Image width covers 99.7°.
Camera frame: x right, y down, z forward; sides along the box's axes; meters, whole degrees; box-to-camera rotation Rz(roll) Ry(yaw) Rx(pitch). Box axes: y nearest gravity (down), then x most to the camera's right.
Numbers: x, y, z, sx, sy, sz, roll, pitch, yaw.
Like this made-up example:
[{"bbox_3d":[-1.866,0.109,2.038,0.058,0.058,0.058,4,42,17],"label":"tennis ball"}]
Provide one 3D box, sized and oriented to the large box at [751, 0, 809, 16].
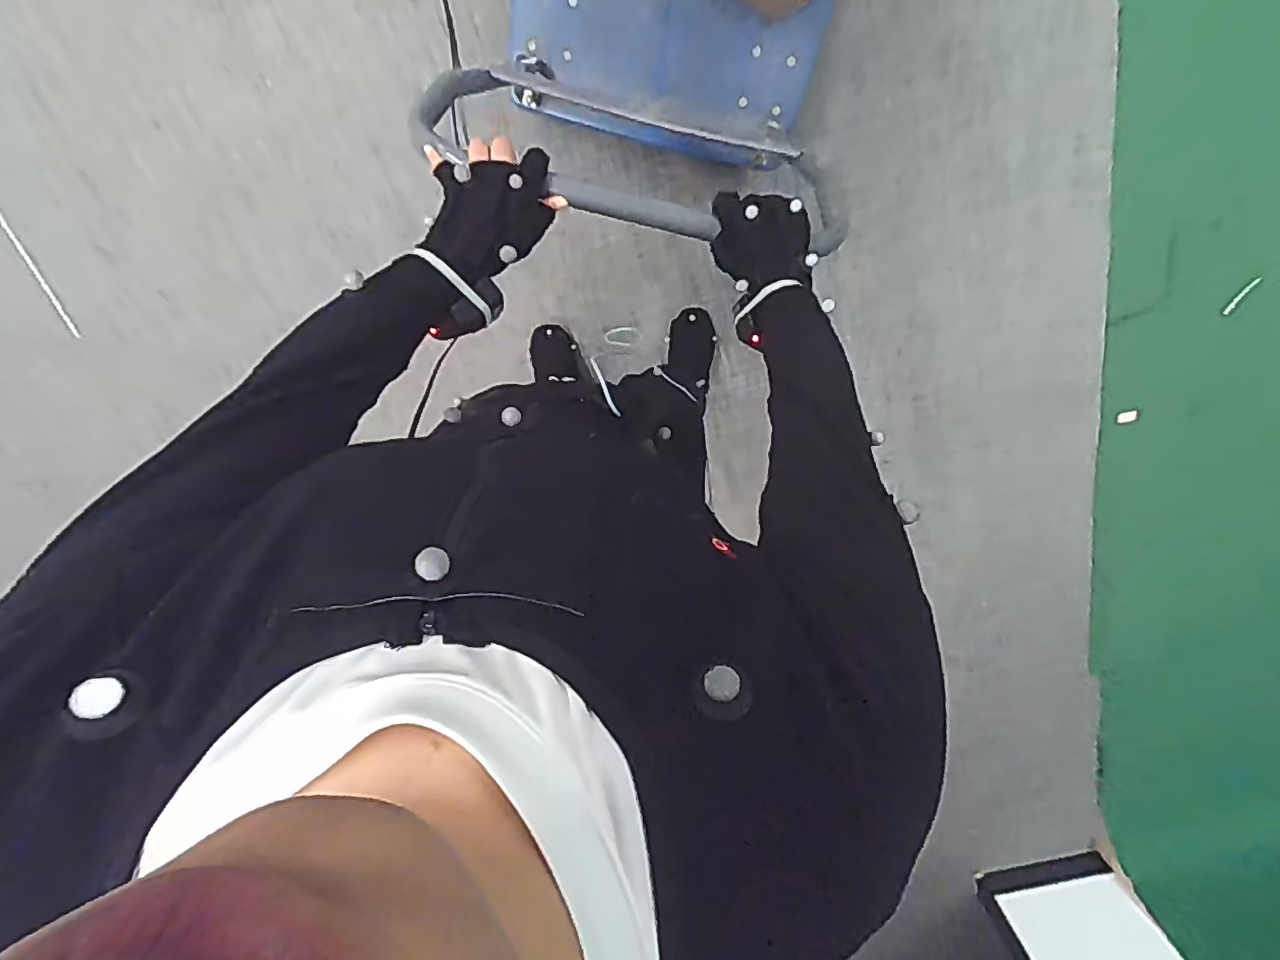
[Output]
[{"bbox_3d":[0.137,-0.941,0.750,0.408,0.320,0.320,24,124,-13],"label":"large box"}]
